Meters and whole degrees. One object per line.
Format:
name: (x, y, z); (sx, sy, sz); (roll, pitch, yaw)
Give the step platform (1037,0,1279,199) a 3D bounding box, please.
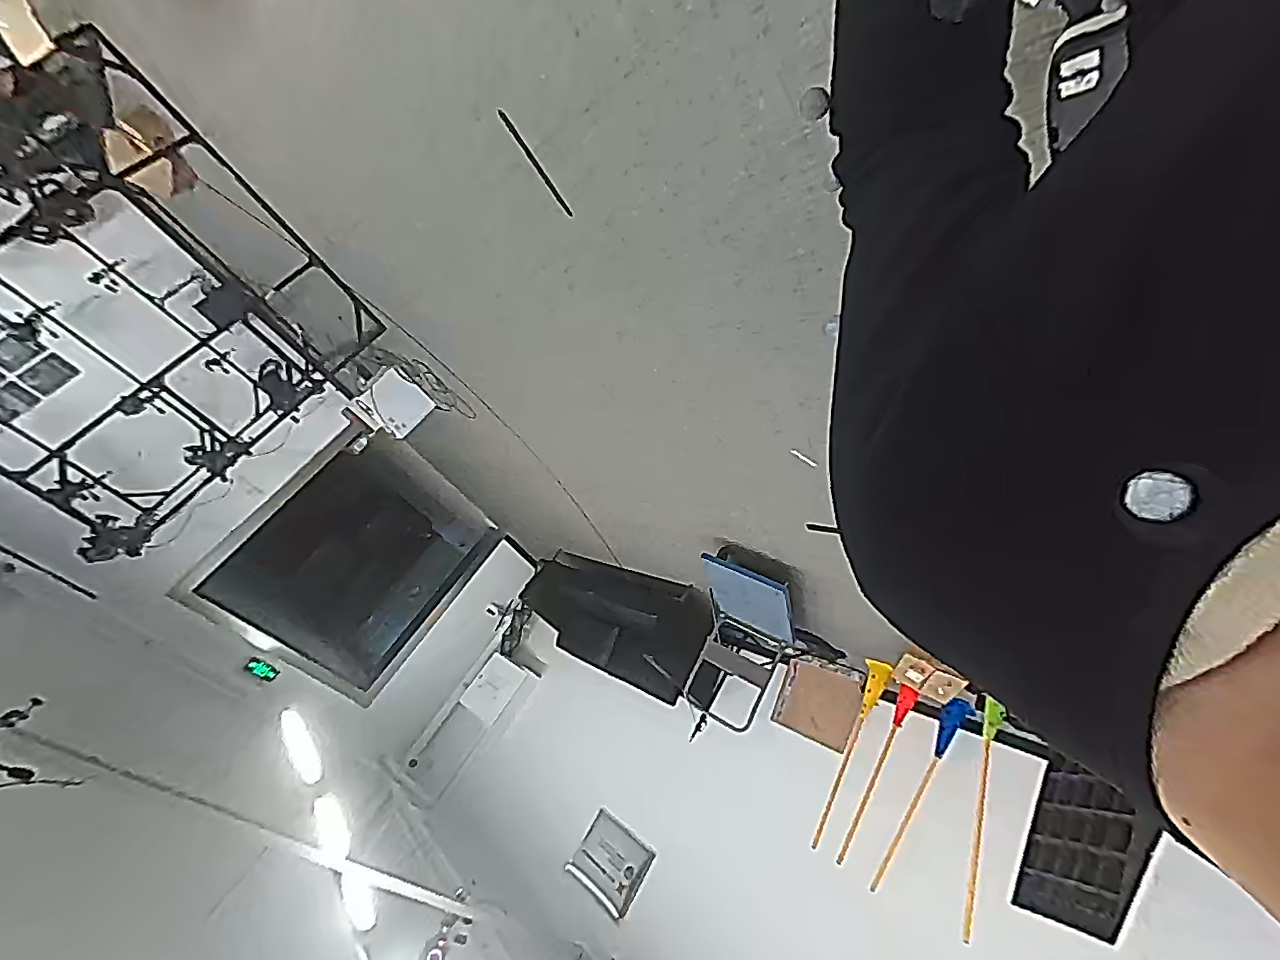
step platform: (0.962, -0.620, 0.733); (0.684, 0.204, 0.286); (12, 147, 45)
